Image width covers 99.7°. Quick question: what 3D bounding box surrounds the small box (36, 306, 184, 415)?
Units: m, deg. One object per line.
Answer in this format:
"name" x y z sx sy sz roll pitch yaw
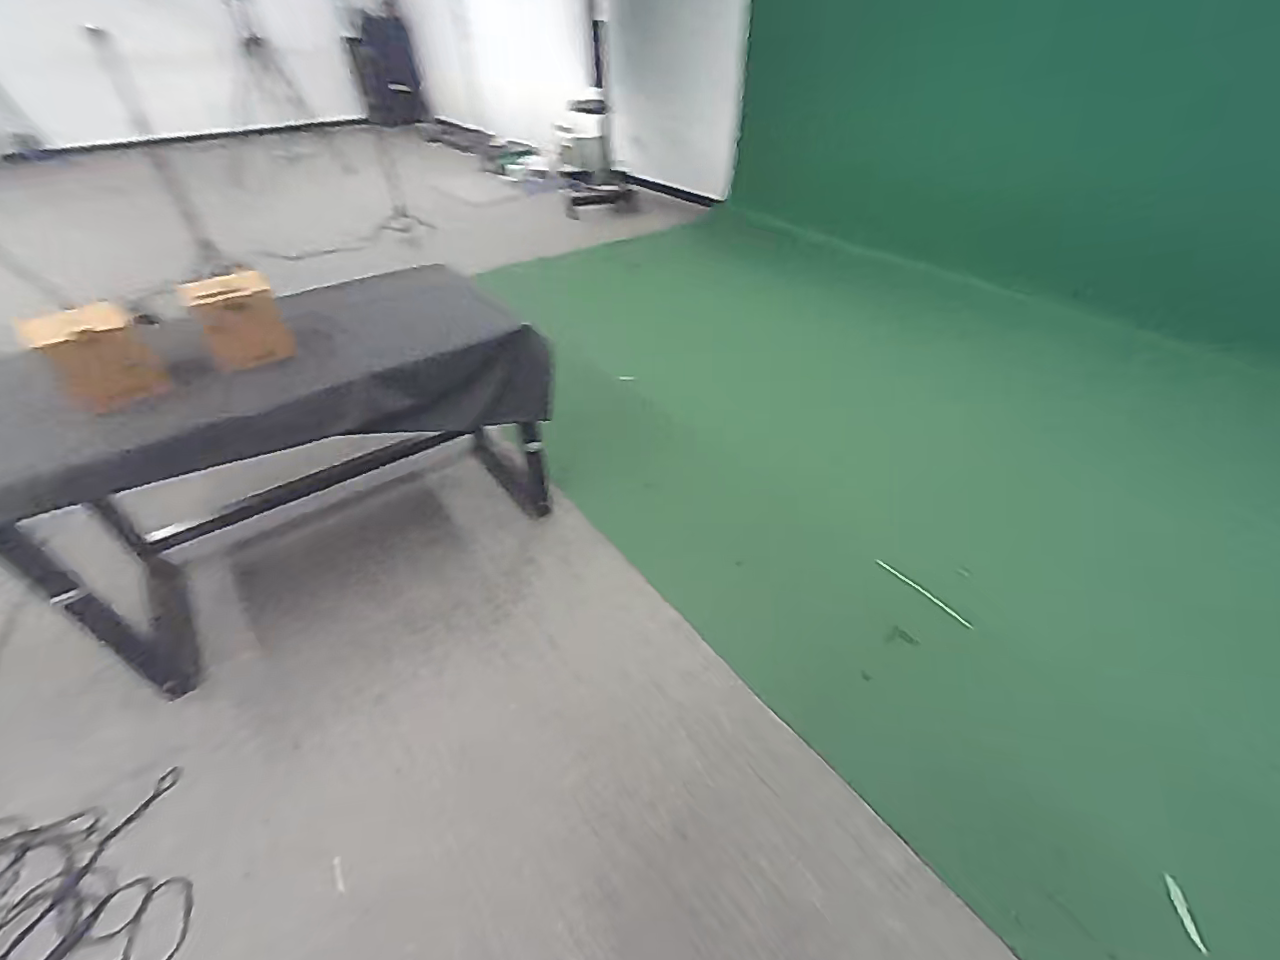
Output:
"small box" -1.169 -0.264 1.203 0.179 0.176 0.168 29 47 32
